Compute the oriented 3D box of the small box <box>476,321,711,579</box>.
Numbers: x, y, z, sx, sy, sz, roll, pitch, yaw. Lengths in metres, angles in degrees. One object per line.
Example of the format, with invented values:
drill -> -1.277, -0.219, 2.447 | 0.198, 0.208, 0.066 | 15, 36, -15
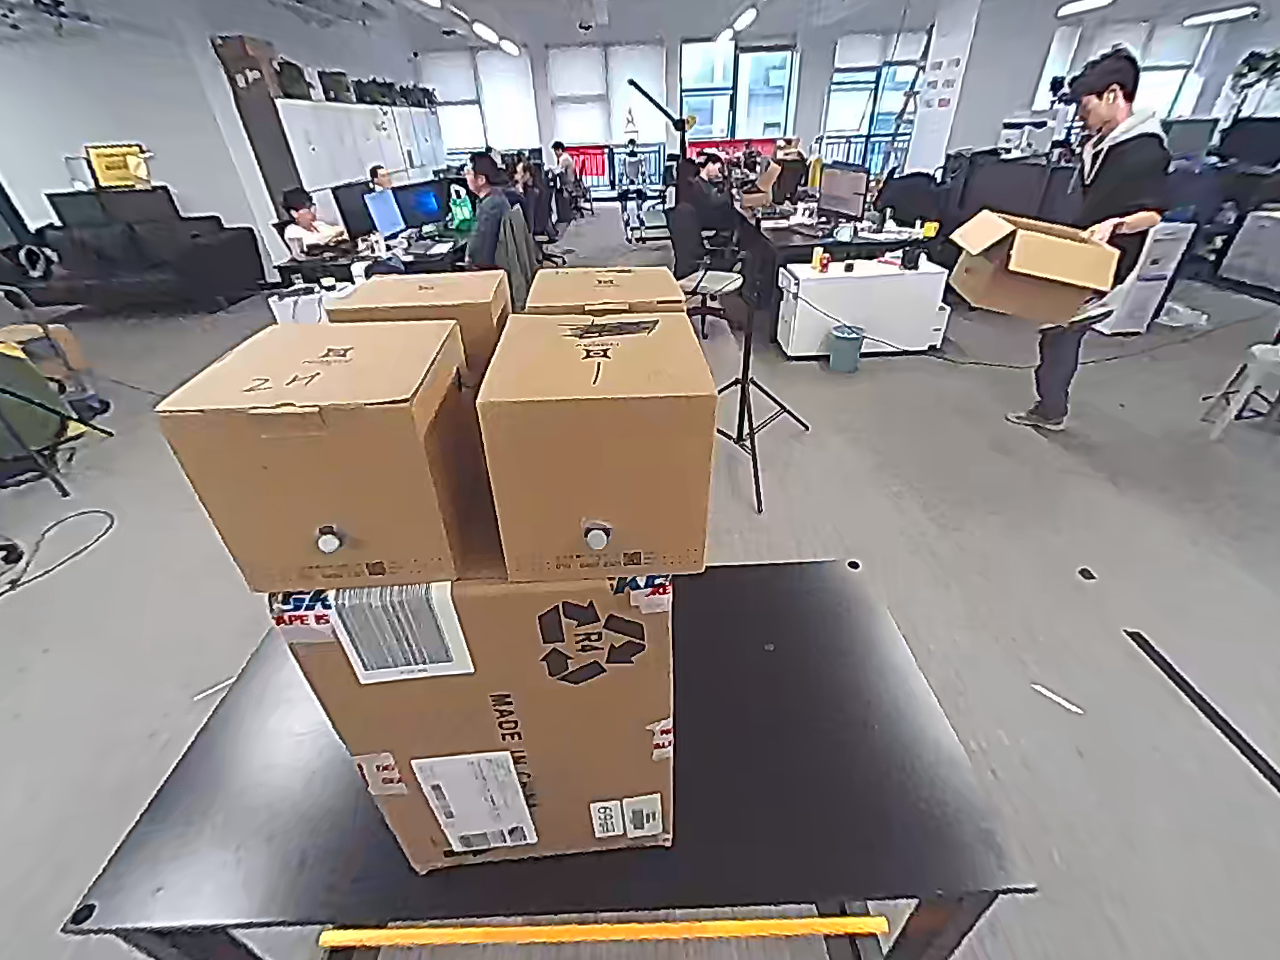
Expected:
small box -> -0.035, -0.033, 0.484 | 0.168, 0.176, 0.179 | -3, 34, -2
